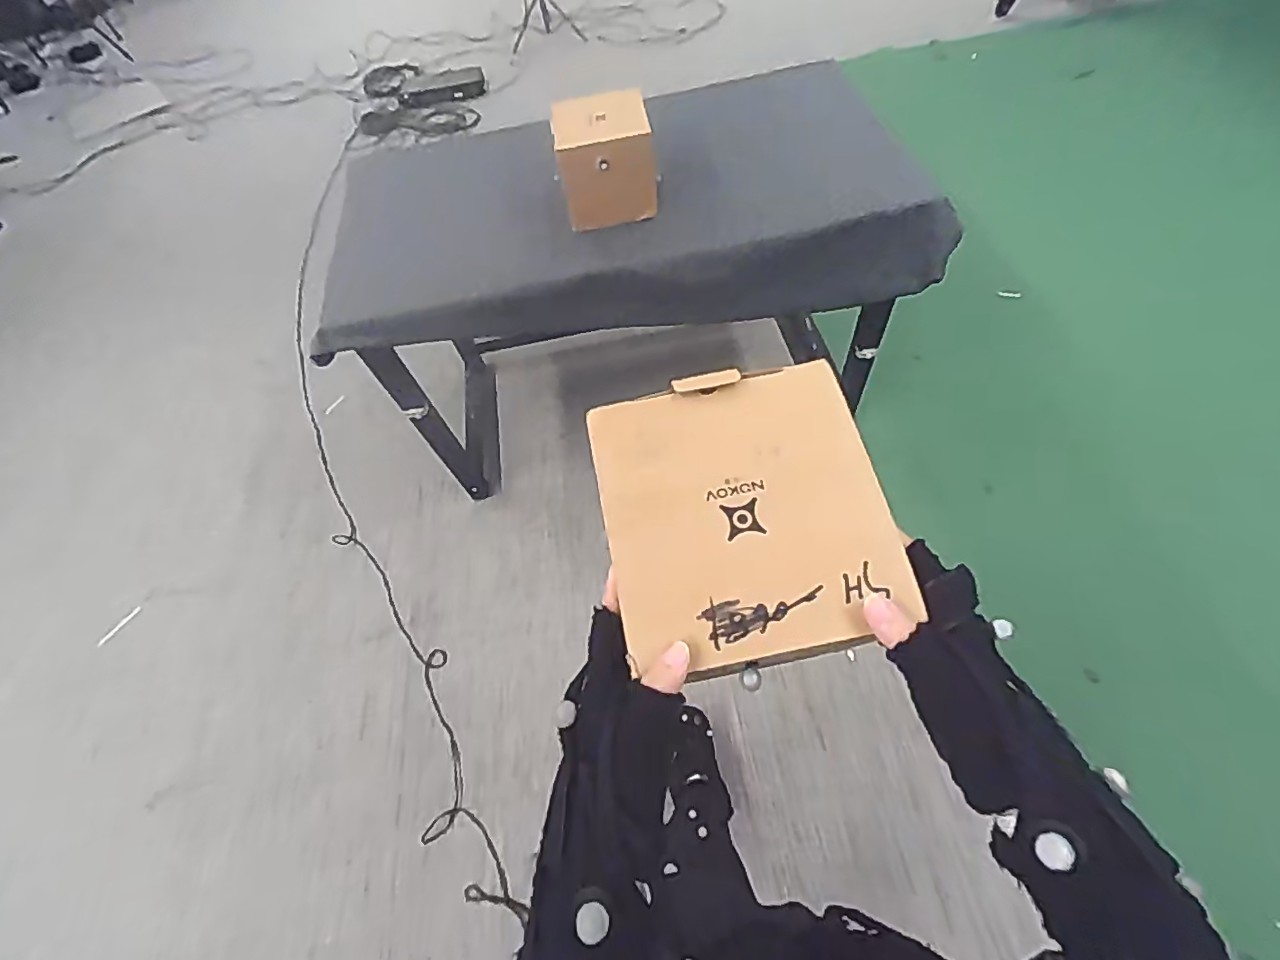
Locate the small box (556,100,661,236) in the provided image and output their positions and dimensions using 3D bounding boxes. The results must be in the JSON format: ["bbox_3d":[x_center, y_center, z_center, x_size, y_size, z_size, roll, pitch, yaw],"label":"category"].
[{"bbox_3d":[-0.059,-0.612,1.074,0.179,0.176,0.168,-10,59,1],"label":"small box"}]

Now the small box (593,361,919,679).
[{"bbox_3d":[0.068,0.042,0.413,0.168,0.176,0.179,-14,68,-1],"label":"small box"}]
